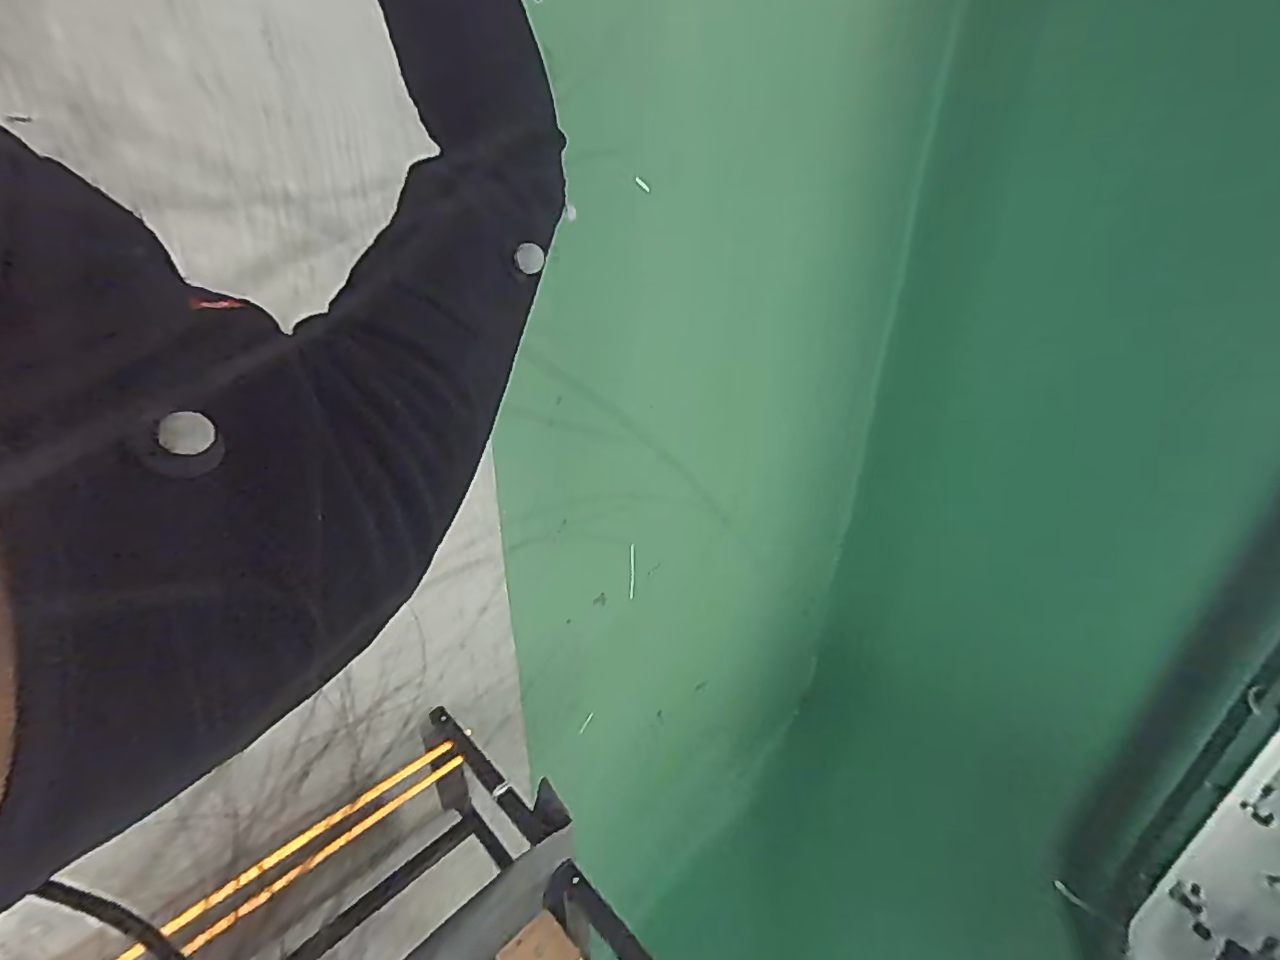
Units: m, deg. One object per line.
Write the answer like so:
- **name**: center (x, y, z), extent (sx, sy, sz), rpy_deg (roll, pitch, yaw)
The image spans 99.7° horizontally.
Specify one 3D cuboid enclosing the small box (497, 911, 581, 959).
- **small box**: center (-0.274, 1.330, 1.466), extent (0.168, 0.176, 0.179), rpy_deg (-21, 124, -40)
